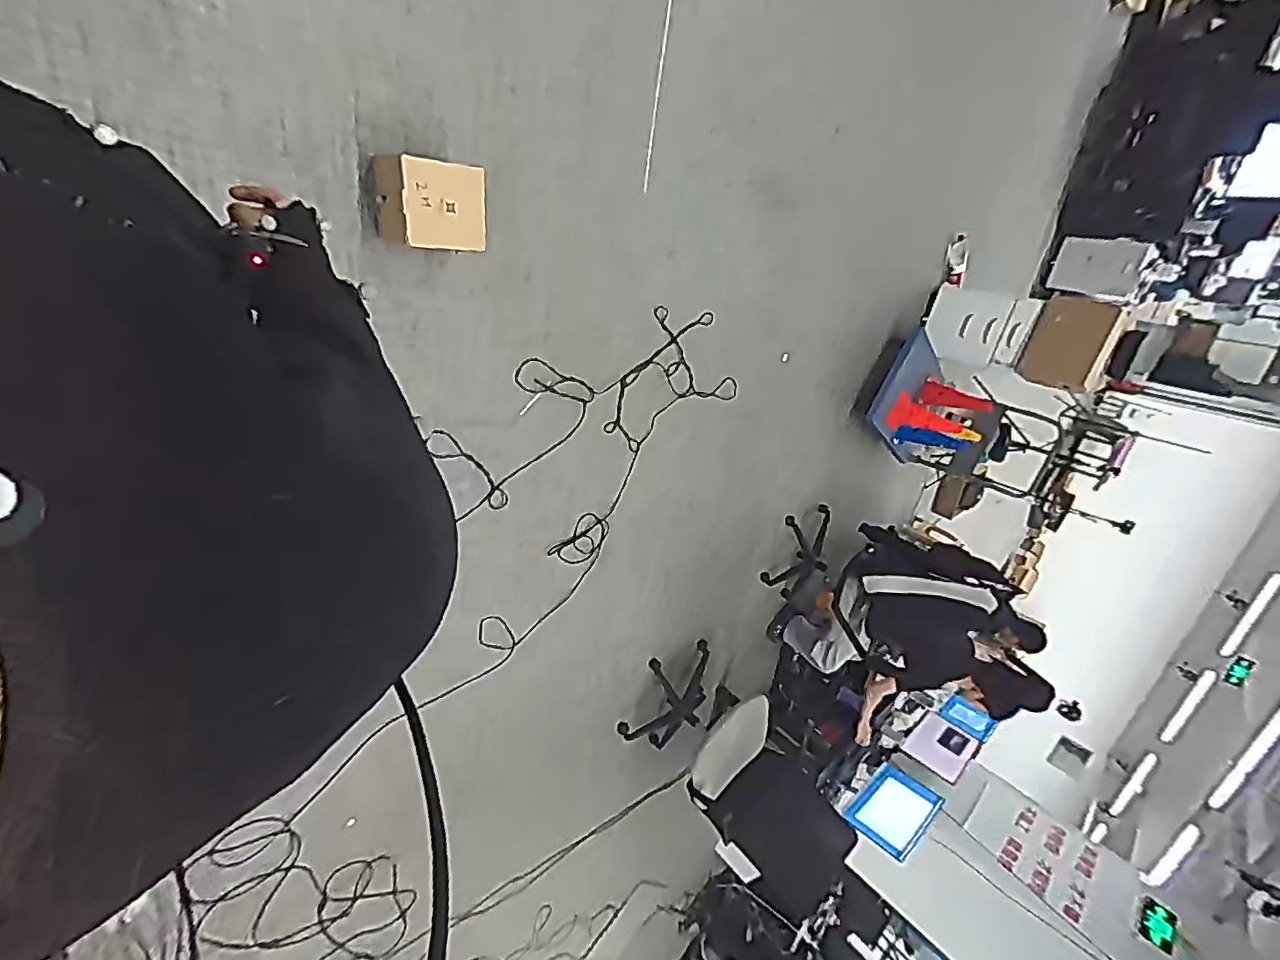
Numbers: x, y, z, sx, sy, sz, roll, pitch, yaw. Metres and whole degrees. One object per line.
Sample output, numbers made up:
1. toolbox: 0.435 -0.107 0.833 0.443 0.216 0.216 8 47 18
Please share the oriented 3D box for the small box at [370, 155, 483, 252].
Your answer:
1. small box: -0.460 -0.598 1.171 0.179 0.176 0.168 -16 122 -39
